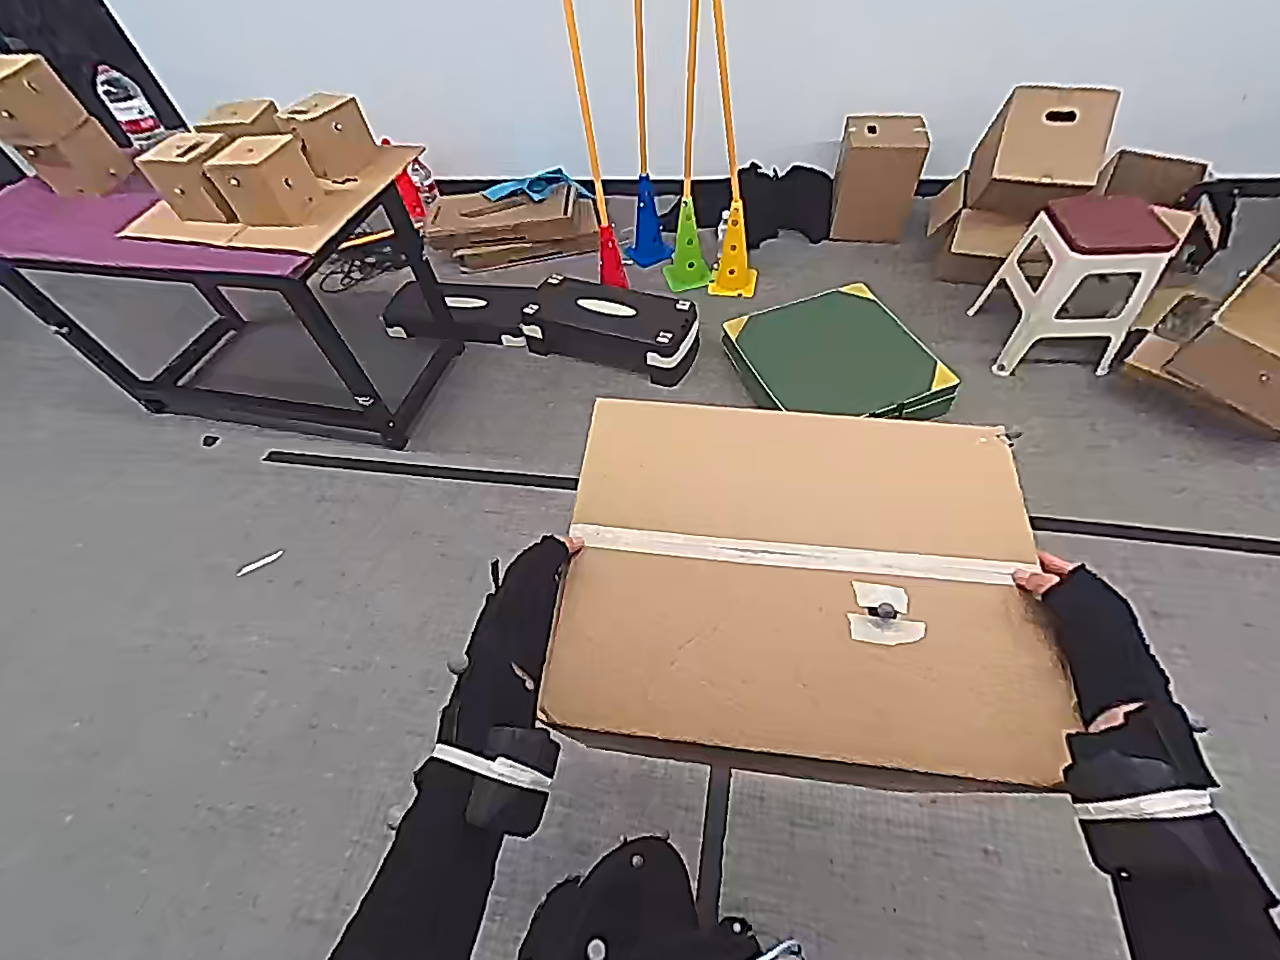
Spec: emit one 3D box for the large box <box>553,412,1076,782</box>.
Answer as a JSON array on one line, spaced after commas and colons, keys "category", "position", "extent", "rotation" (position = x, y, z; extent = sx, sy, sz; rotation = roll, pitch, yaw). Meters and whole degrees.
[{"category": "large box", "position": [0.143, 0.146, 0.612], "extent": [0.408, 0.320, 0.320], "rotation": [5, 62, 4]}]
